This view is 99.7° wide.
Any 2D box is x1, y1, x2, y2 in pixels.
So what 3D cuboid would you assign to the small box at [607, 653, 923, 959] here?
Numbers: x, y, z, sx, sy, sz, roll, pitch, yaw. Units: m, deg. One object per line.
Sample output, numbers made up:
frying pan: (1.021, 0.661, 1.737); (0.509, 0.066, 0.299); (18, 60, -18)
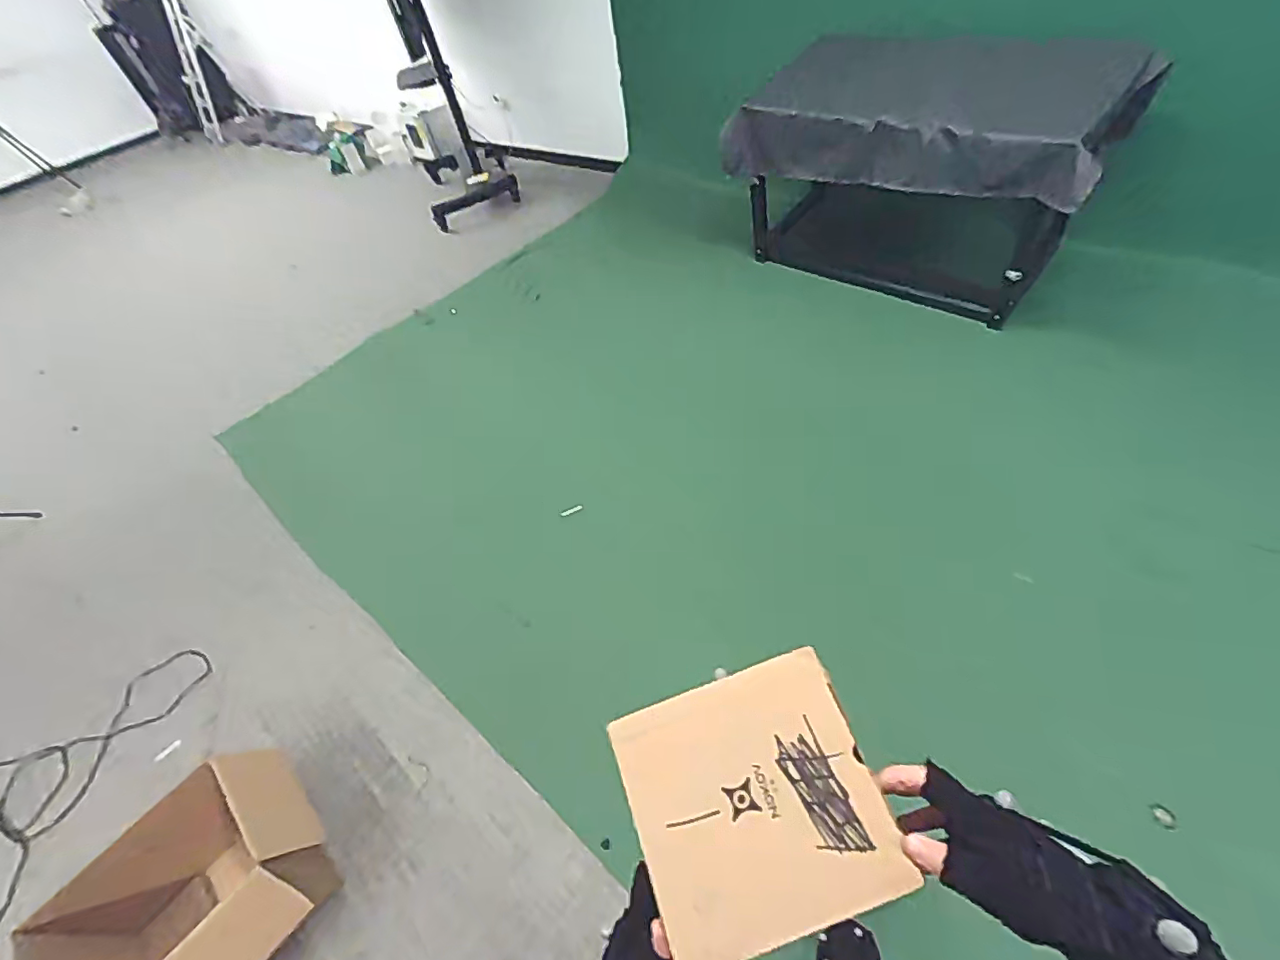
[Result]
small box: (0.087, 0.264, 0.452); (0.179, 0.176, 0.168); (-20, 61, -3)
